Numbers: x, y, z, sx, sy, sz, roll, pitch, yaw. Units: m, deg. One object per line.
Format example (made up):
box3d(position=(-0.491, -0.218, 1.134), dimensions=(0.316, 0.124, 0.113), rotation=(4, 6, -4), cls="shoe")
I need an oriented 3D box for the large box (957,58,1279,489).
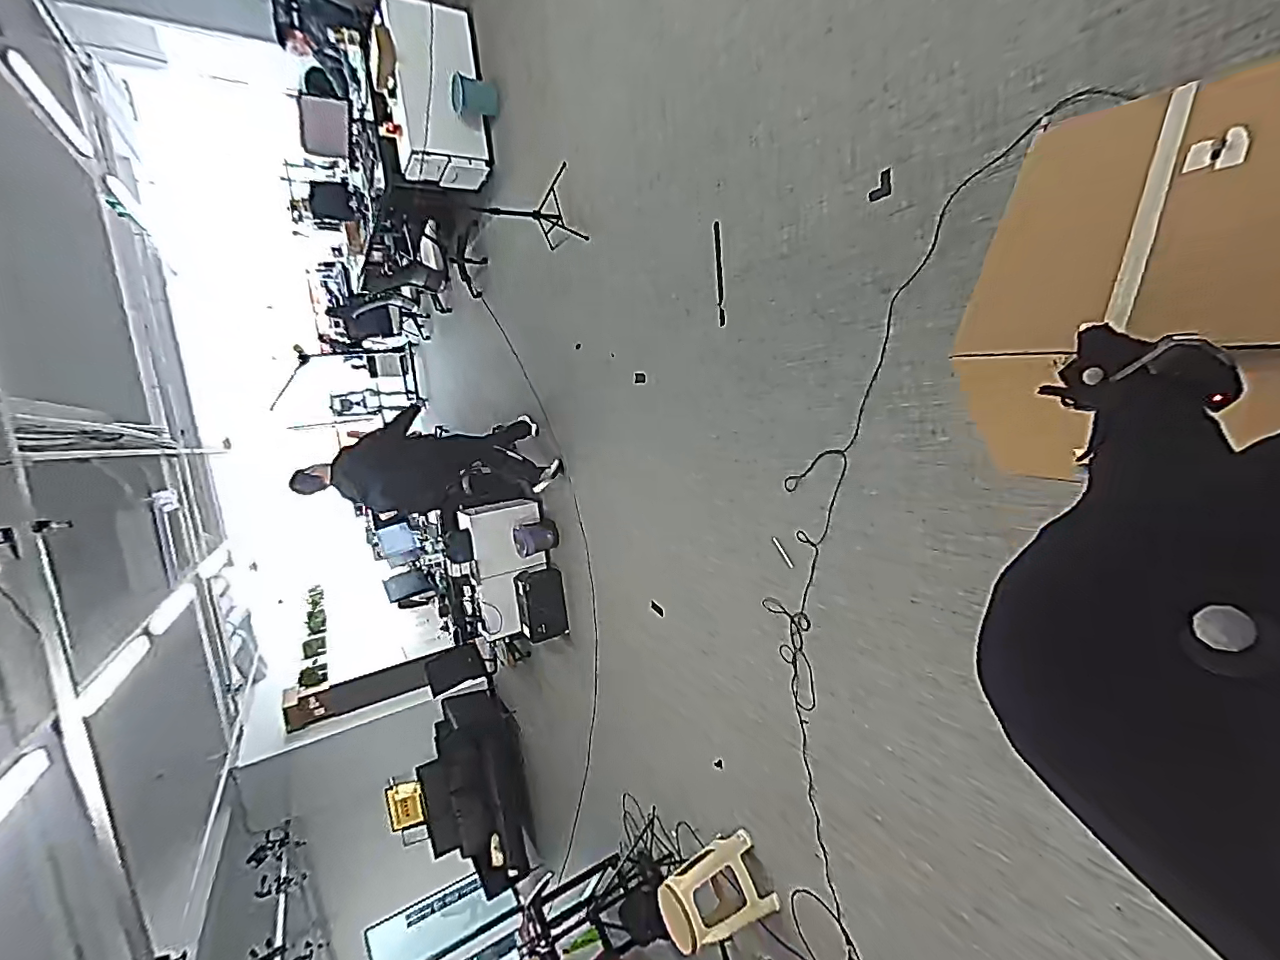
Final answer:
box3d(position=(0.686, -0.244, 0.721), dimensions=(0.320, 0.320, 0.408), rotation=(13, 71, 49), cls="large box")
